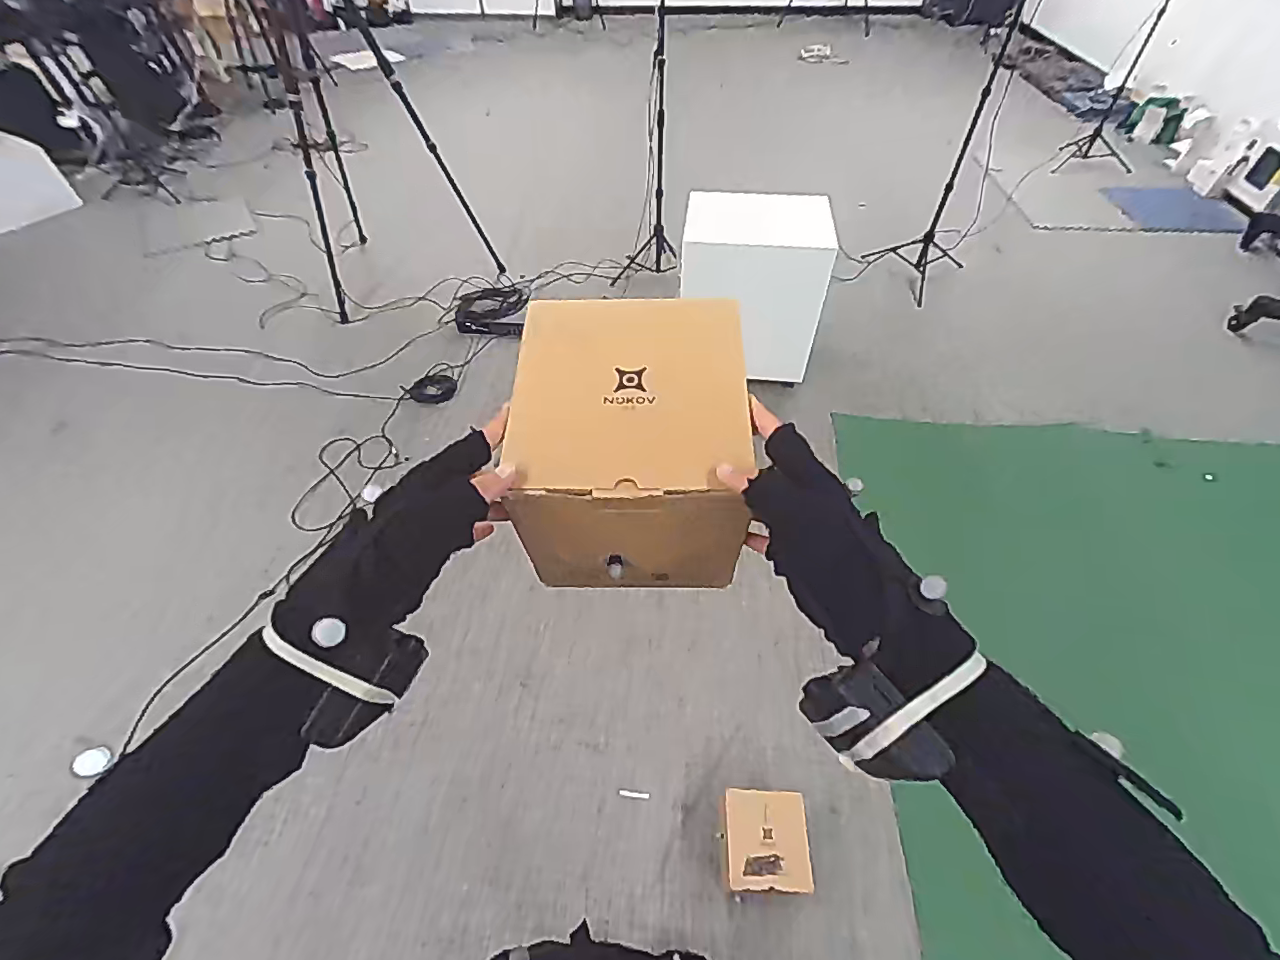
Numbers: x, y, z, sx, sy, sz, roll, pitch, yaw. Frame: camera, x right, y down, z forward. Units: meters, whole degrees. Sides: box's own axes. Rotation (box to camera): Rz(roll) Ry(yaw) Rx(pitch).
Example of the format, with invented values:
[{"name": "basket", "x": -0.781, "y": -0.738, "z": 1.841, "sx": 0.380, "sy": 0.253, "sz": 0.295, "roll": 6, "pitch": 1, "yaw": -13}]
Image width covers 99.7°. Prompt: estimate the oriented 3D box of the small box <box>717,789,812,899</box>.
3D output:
[{"name": "small box", "x": 0.256, "y": 0.777, "z": 1.151, "sx": 0.168, "sy": 0.176, "sz": 0.179, "roll": 2, "pitch": 50, "yaw": 2}]
